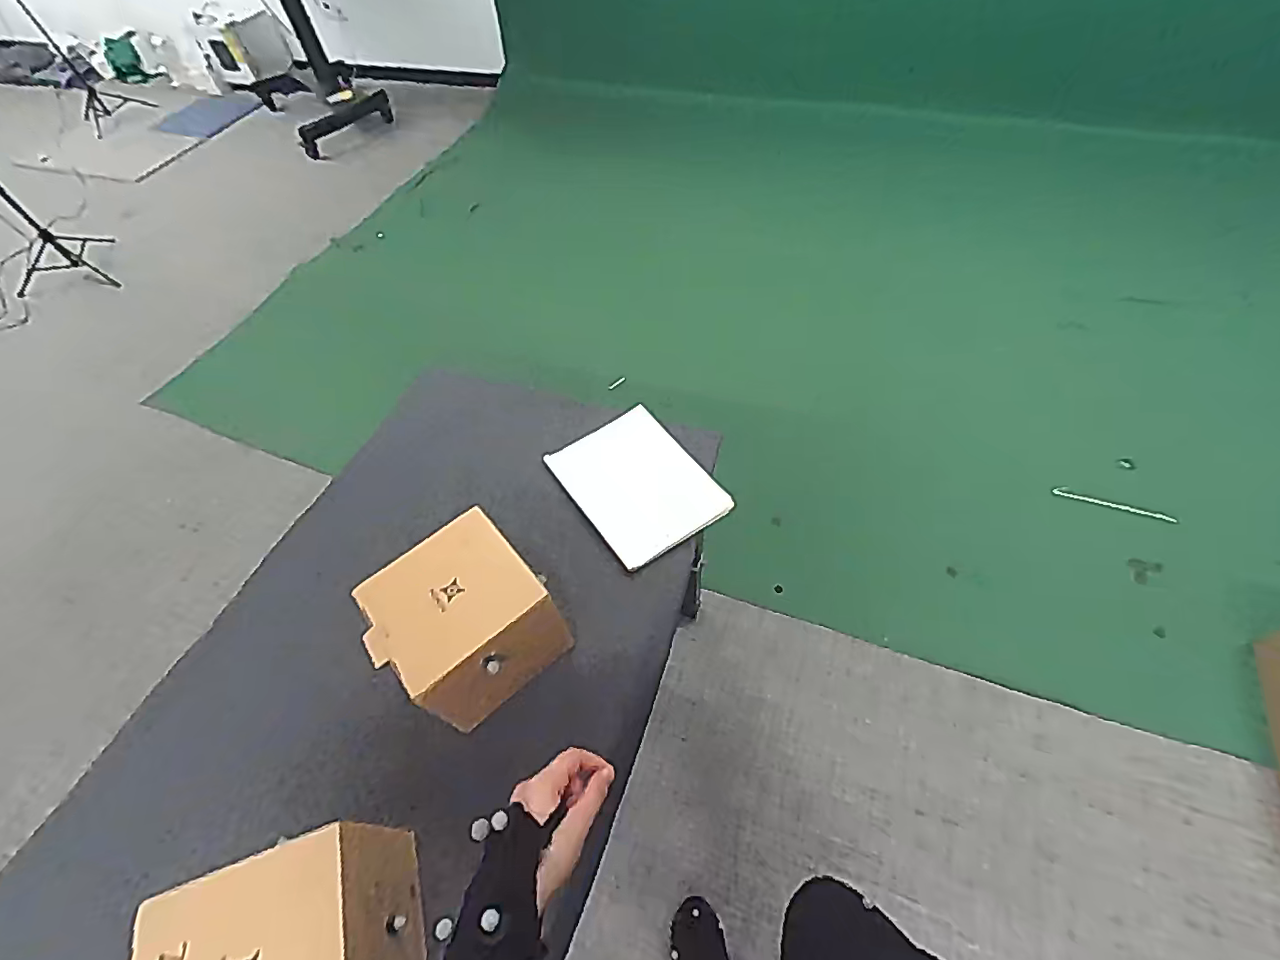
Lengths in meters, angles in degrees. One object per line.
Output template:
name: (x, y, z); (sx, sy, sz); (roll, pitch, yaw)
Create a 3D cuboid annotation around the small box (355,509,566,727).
small box: (-0.209, 0.176, 0.681); (0.179, 0.176, 0.168); (-37, 60, -18)

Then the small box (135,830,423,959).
small box: (-0.315, 0.449, 0.499); (0.179, 0.176, 0.168); (-19, 55, -8)
